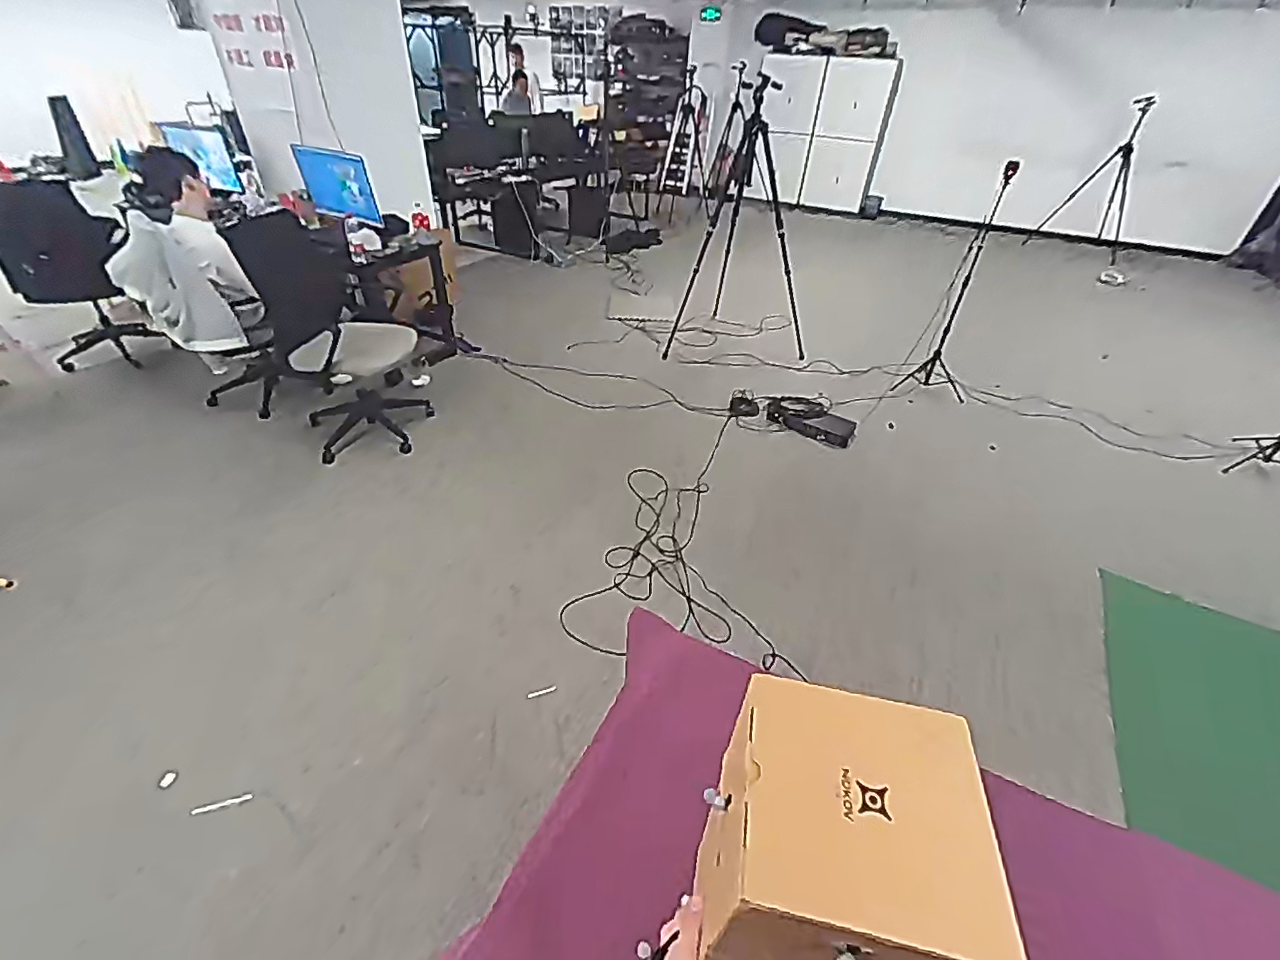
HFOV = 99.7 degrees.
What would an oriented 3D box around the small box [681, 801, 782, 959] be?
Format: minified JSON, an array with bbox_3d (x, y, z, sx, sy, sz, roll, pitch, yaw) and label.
[{"bbox_3d":[0.155,0.535,0.665,0.179,0.176,0.168,11,40,9],"label":"small box"}]

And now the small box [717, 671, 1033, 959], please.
[{"bbox_3d":[0.169,0.291,0.448,0.179,0.176,0.168,10,41,8],"label":"small box"}]
